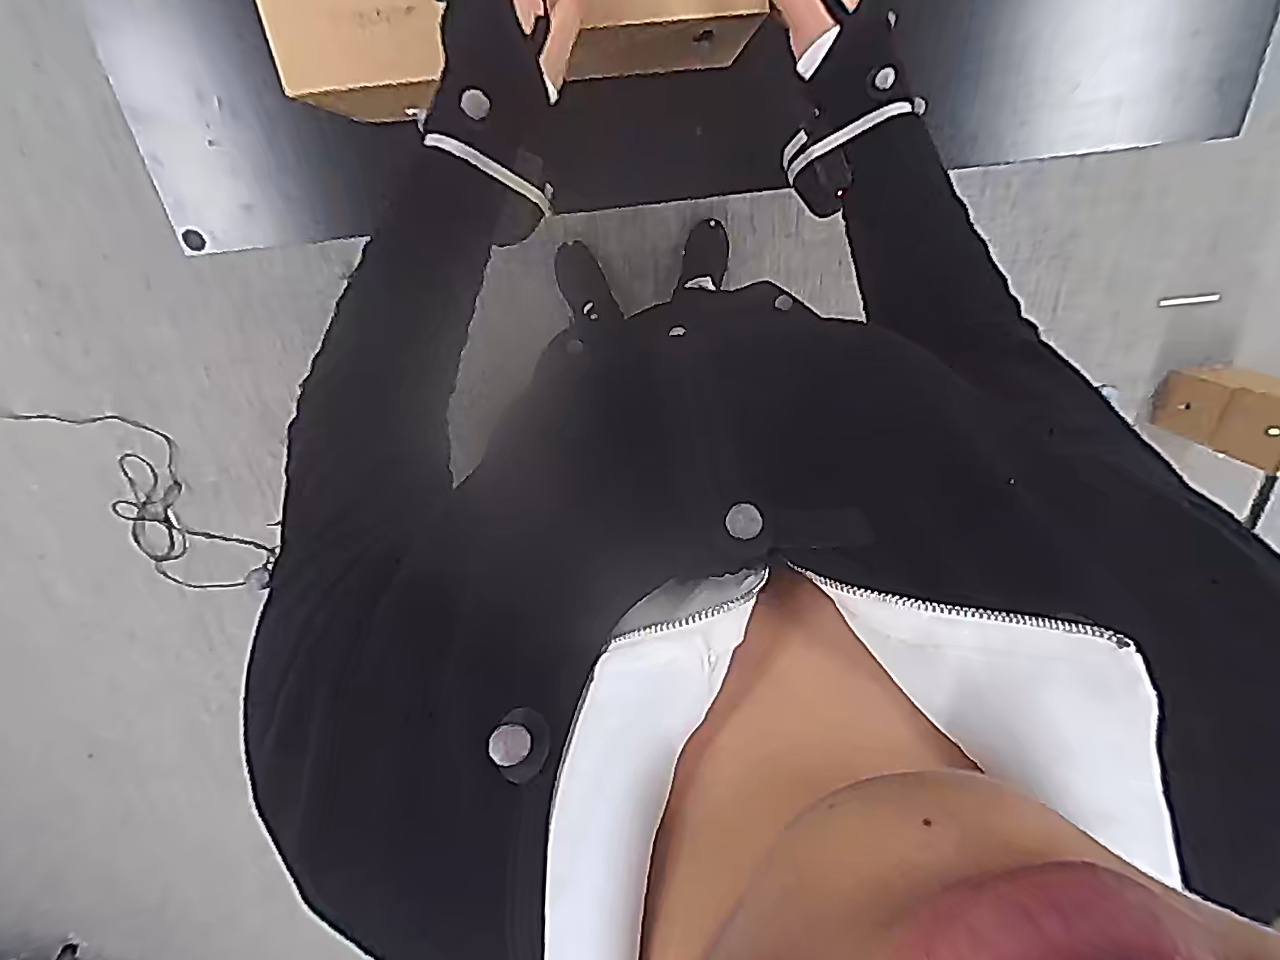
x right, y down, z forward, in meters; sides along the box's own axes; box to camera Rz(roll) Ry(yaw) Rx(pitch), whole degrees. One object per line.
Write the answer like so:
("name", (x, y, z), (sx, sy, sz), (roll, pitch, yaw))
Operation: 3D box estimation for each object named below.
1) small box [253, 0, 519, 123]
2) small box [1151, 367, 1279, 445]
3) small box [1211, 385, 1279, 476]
("small box", (-0.211, -0.425, 0.459), (0.168, 0.176, 0.179), (-6, 117, 2))
("small box", (1.556, -0.203, 1.460), (0.179, 0.176, 0.168), (-3, 116, 0))
("small box", (1.570, -0.128, 1.312), (0.168, 0.176, 0.179), (-4, 117, -1))
